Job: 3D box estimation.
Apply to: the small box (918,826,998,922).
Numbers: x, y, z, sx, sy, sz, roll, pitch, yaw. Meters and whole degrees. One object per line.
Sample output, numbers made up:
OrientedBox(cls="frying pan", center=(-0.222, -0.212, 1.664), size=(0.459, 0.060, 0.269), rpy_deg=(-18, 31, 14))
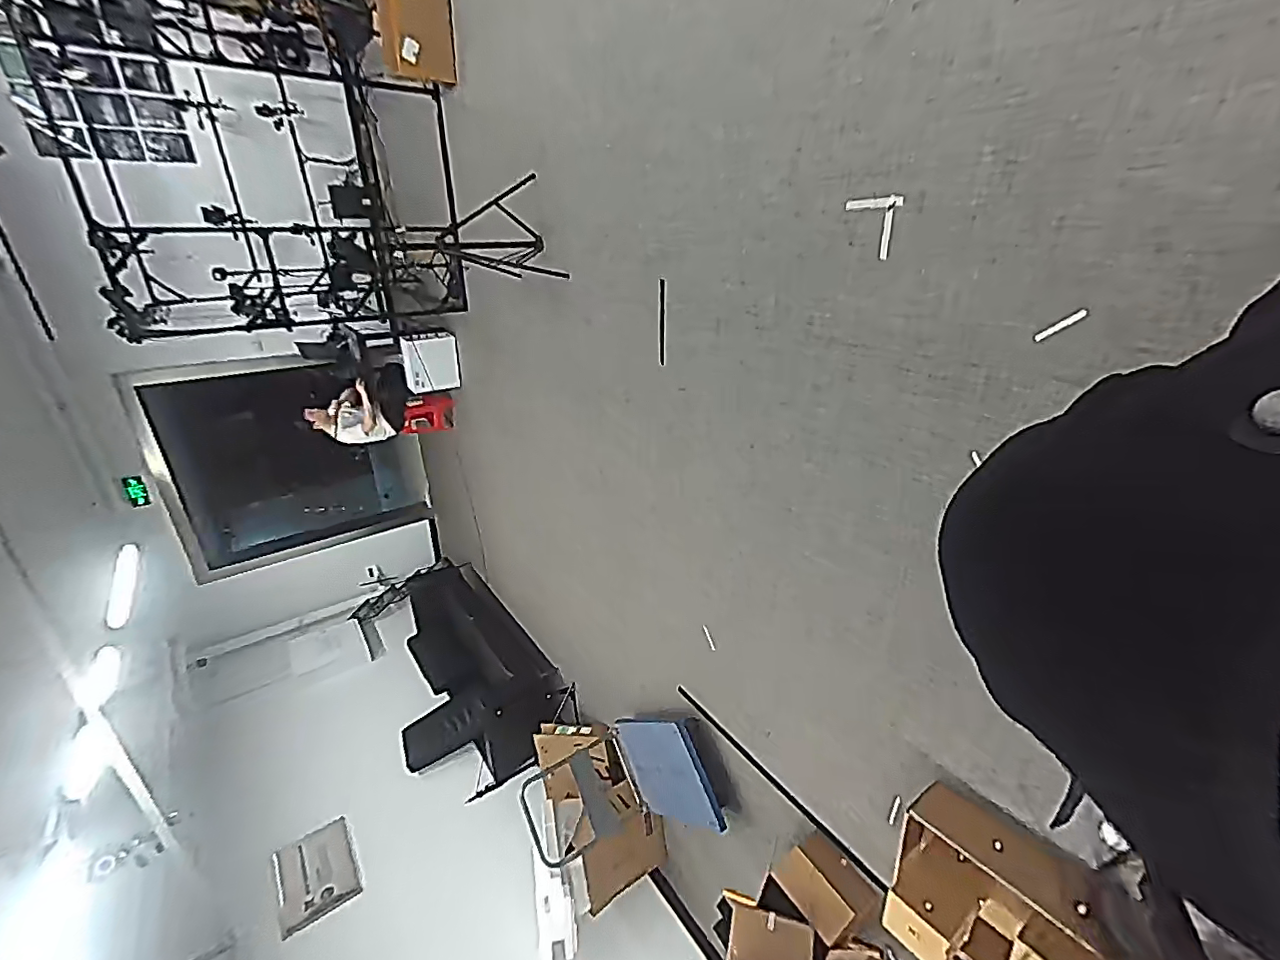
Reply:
OrientedBox(cls="small box", center=(0.981, 1.232, 1.683), size=(0.168, 0.176, 0.179), rpy_deg=(26, 127, 49))

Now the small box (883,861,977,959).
OrientedBox(cls="small box", center=(0.852, 1.273, 1.592), size=(0.179, 0.176, 0.168), rpy_deg=(25, 125, 48))
